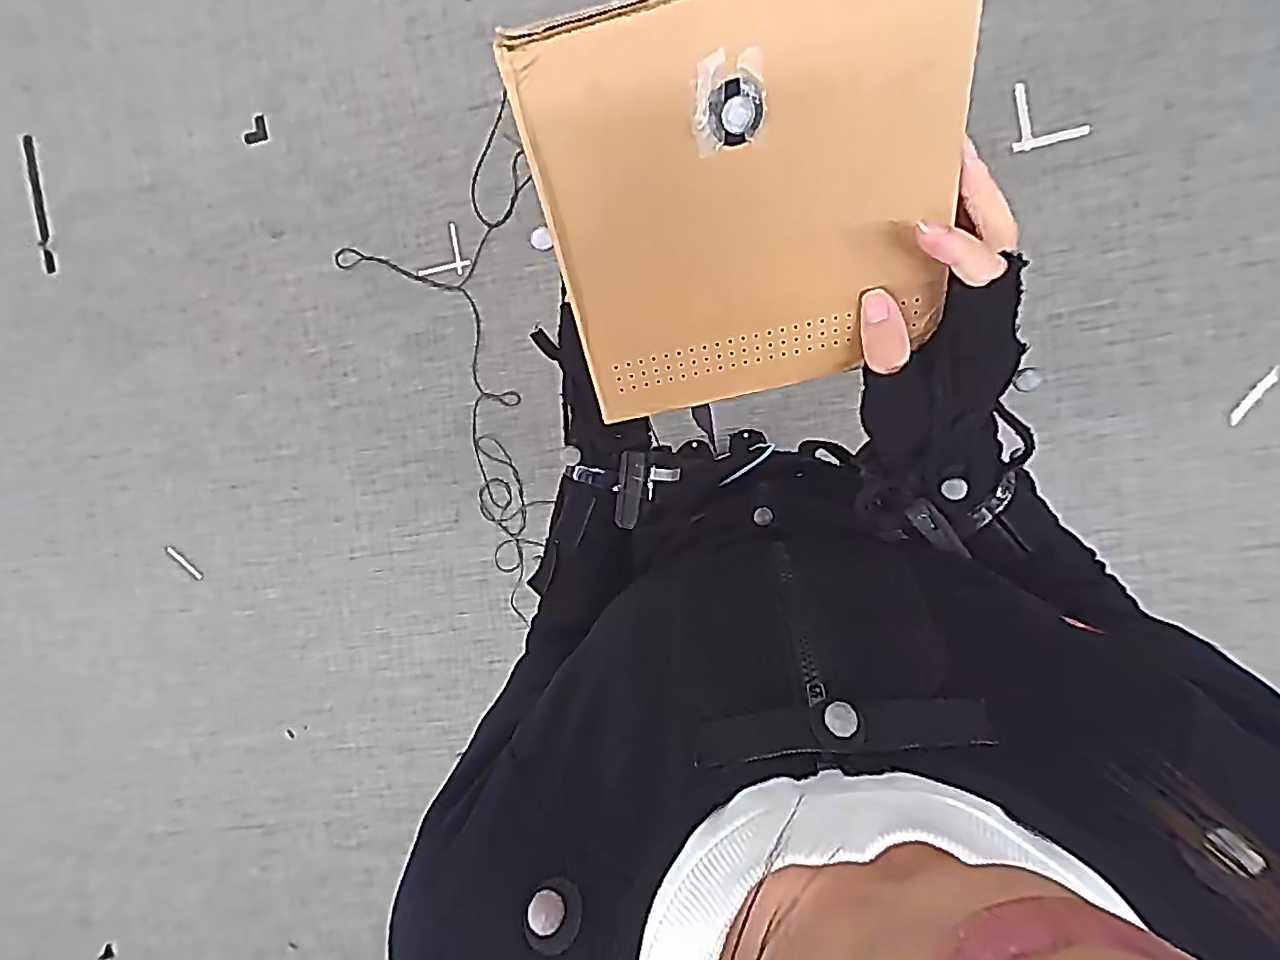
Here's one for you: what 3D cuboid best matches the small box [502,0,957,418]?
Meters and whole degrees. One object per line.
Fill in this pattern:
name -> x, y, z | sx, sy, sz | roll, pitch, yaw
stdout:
small box -> 0.047, -0.153, 0.302 | 0.179, 0.168, 0.176 | -11, 127, 5
